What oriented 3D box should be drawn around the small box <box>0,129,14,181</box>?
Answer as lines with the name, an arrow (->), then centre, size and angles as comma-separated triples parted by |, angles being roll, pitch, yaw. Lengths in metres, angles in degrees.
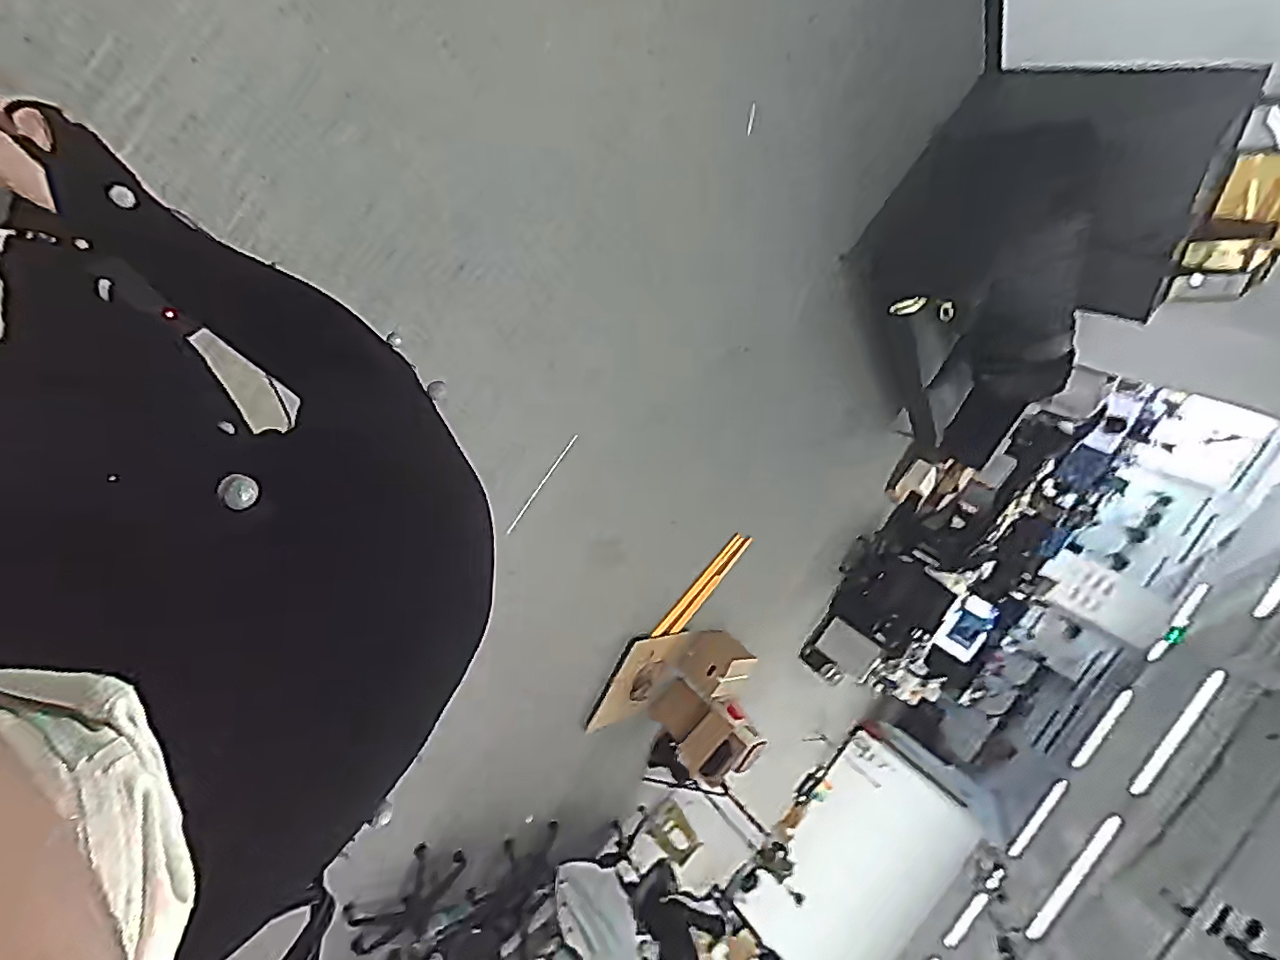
small box -> -0.640, -0.348, 0.418 | 0.168, 0.176, 0.179 | -19, 131, -41
